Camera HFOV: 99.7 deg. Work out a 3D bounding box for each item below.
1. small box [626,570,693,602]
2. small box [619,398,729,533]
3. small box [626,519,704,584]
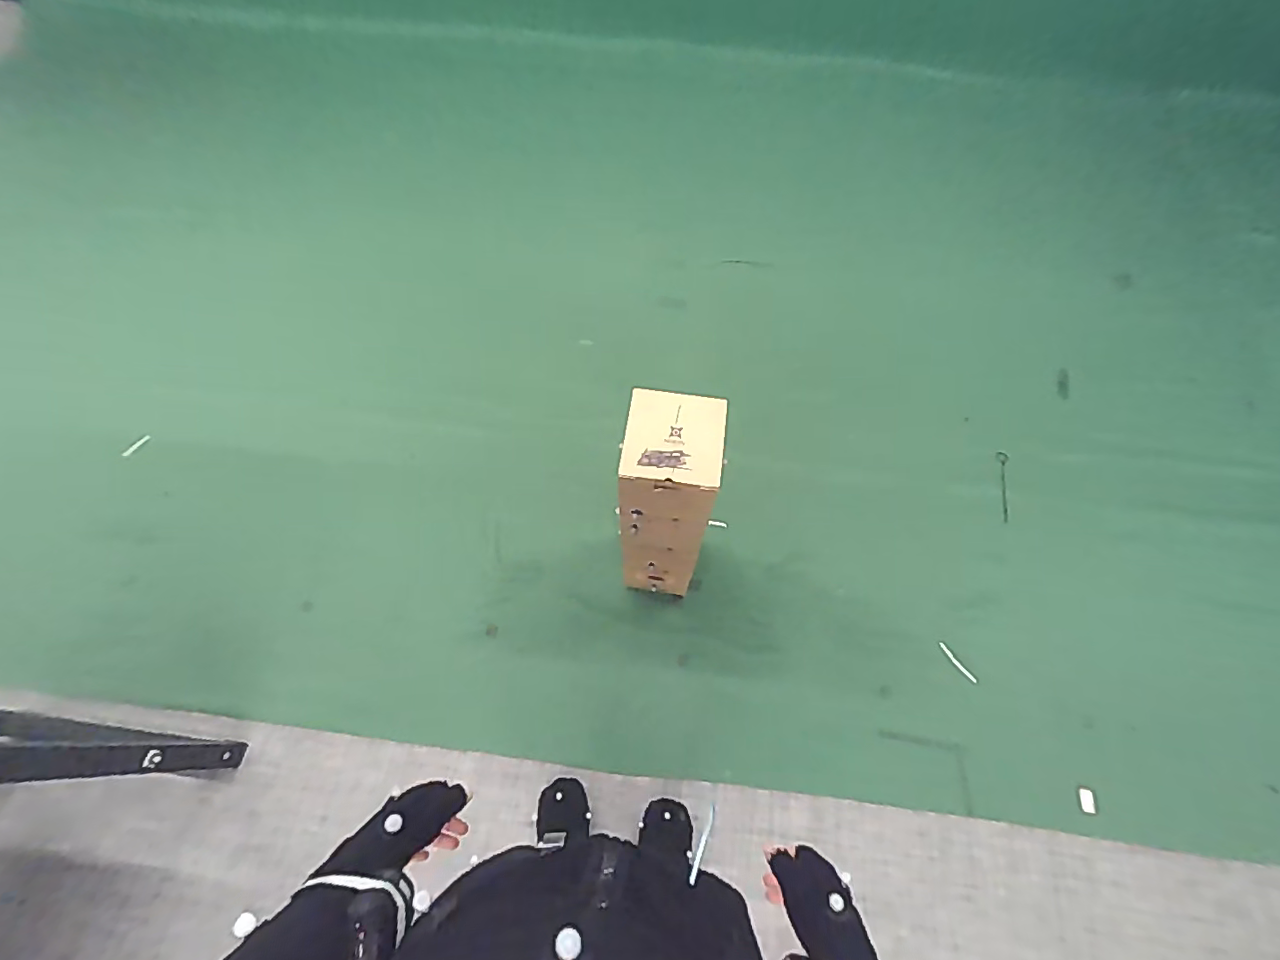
[{"bbox_3d":[0.059,0.203,1.407,0.168,0.176,0.179,9,63,4],"label":"small box"},{"bbox_3d":[0.060,-0.020,0.969,0.168,0.176,0.179,8,63,3],"label":"small box"},{"bbox_3d":[0.058,0.128,1.263,0.168,0.176,0.179,7,64,3],"label":"small box"}]
